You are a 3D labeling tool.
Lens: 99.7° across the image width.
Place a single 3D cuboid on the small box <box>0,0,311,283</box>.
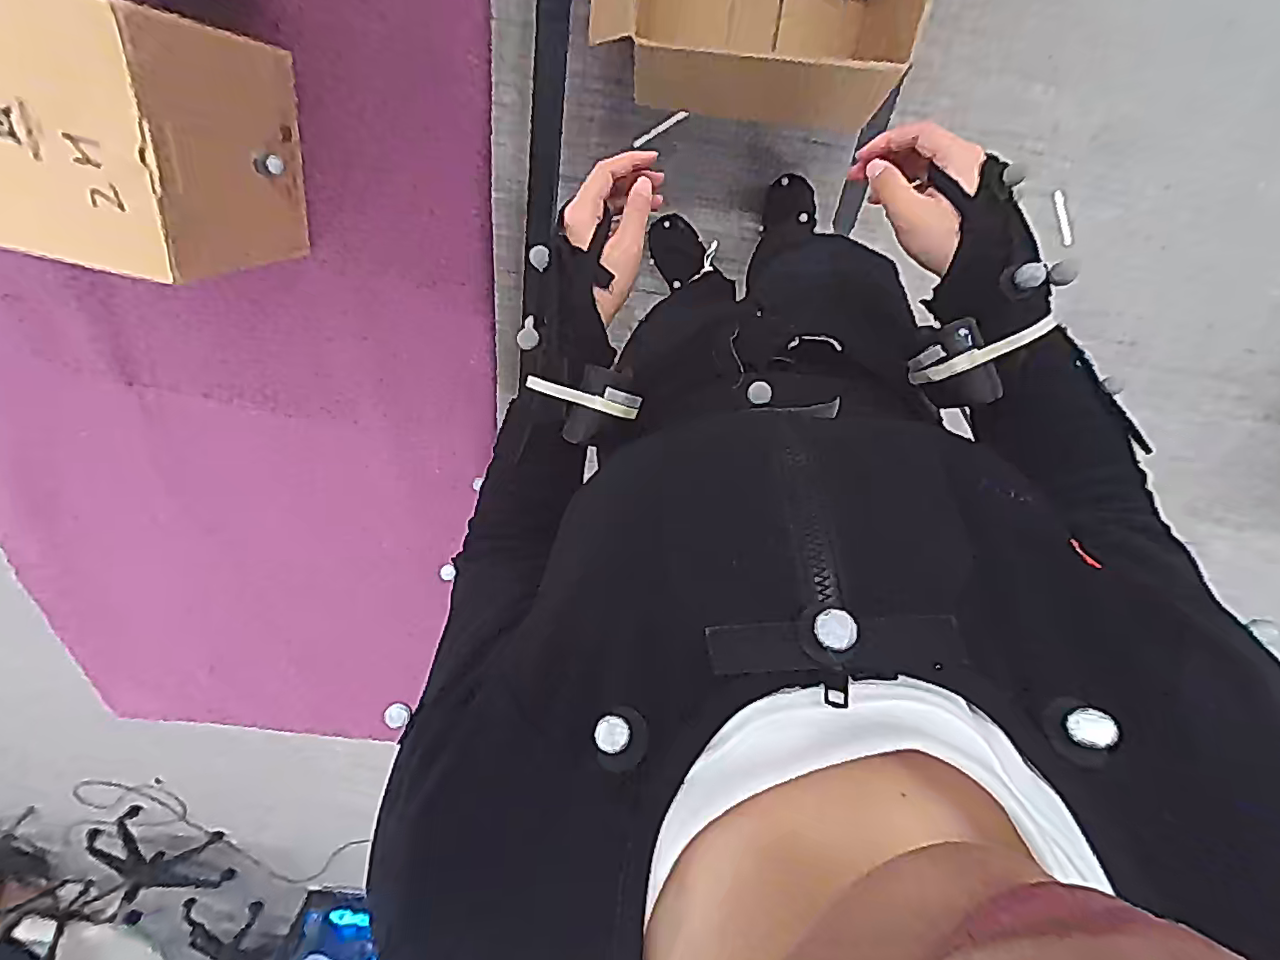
[{"bbox_3d":[-0.401,-0.270,0.427,0.179,0.176,0.168,12,120,-3],"label":"small box"}]
